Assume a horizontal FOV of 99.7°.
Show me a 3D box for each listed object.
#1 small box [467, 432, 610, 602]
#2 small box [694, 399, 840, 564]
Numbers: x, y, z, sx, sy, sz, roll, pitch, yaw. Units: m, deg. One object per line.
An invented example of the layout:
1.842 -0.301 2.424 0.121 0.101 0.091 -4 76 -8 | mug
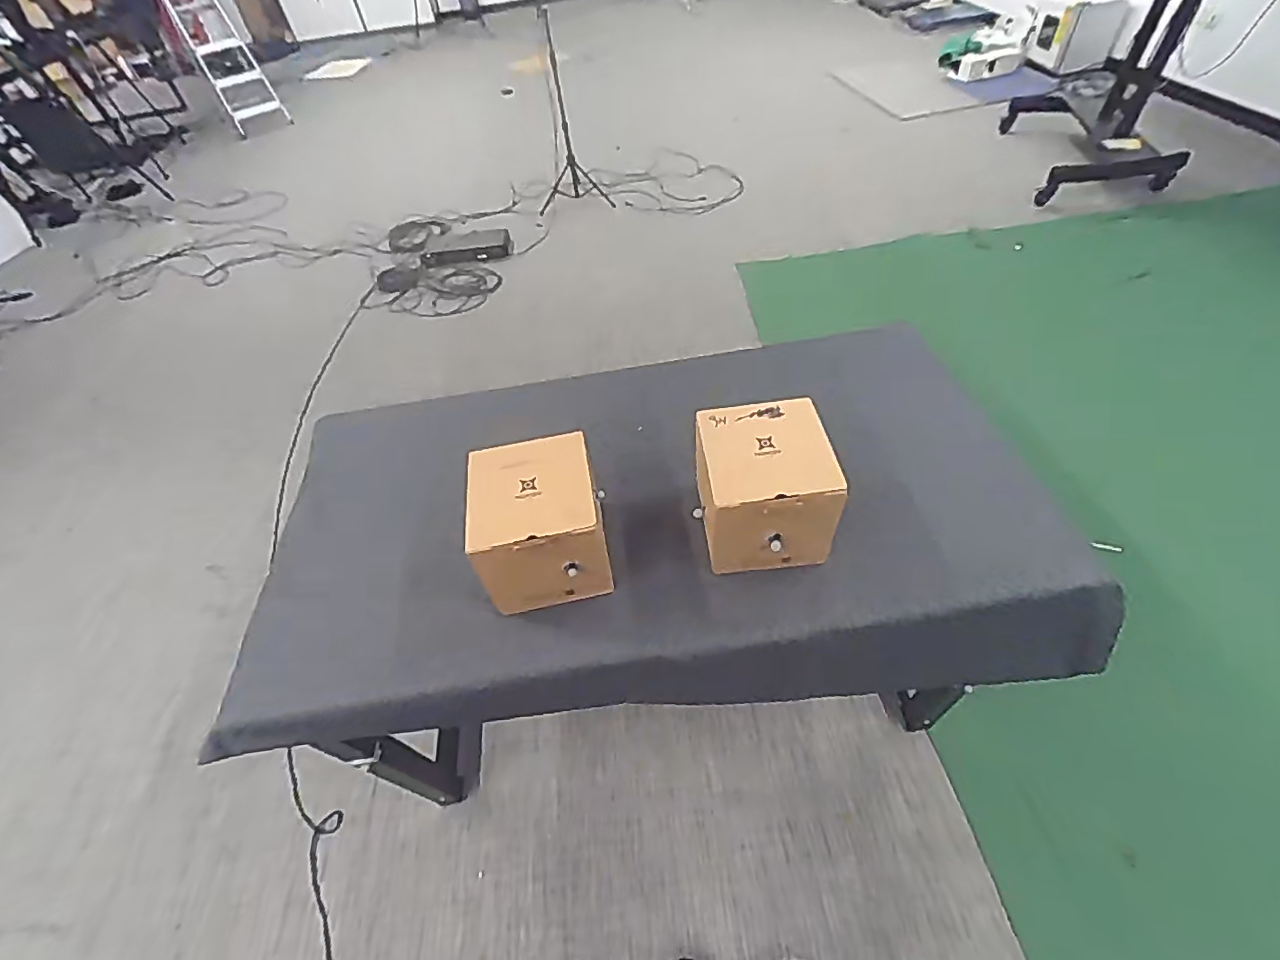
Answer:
-0.141 0.060 0.781 0.168 0.176 0.179 -11 48 -4 | small box
0.172 0.010 0.785 0.168 0.176 0.179 -6 50 1 | small box
